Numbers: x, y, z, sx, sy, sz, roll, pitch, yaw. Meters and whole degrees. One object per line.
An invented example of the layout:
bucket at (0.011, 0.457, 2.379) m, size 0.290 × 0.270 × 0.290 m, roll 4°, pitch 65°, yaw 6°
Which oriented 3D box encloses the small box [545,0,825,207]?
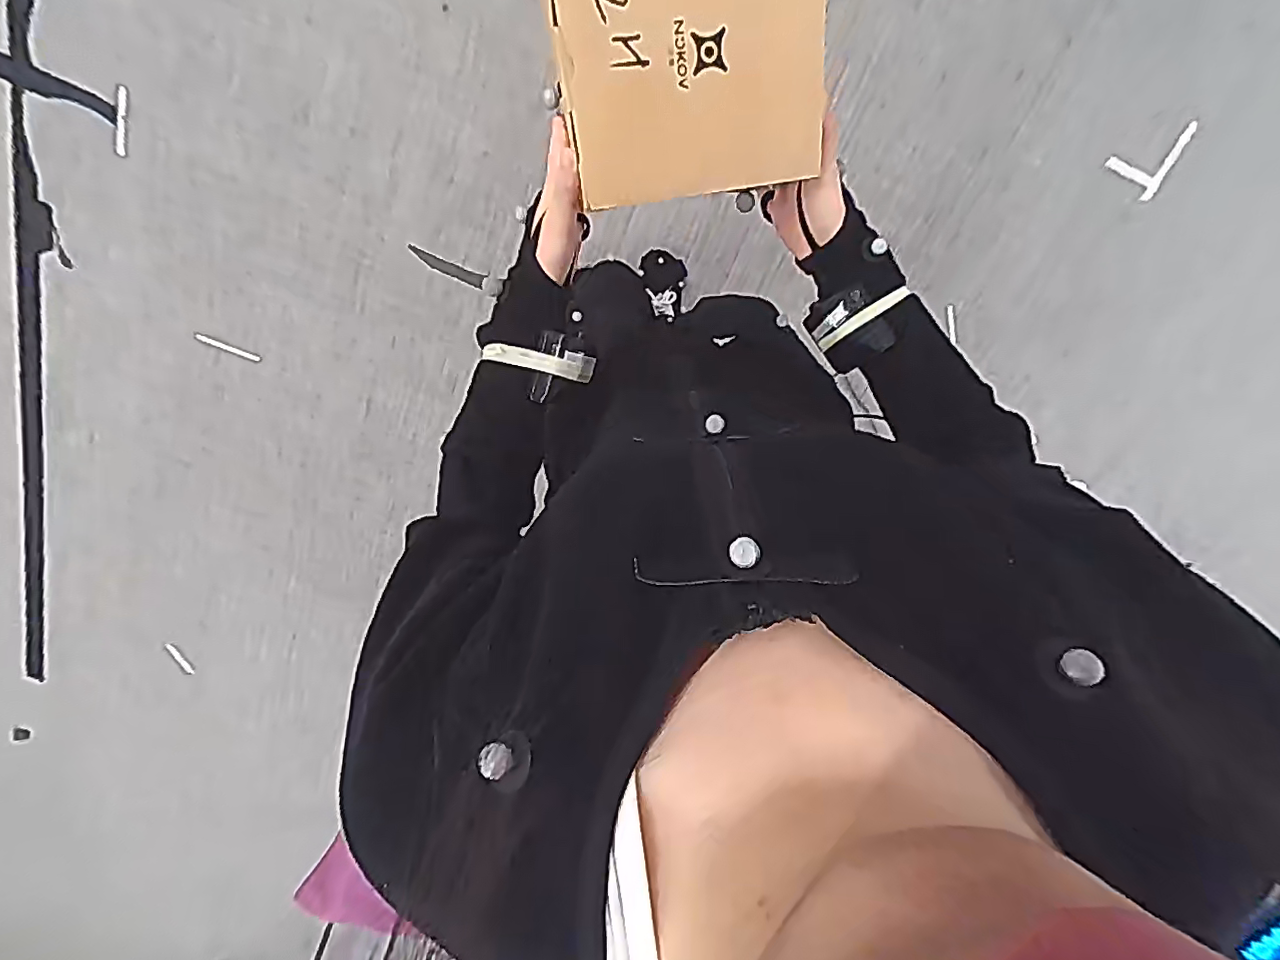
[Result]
small box at (0.025, -0.316, 0.419) m, size 0.179 × 0.176 × 0.168 m, roll -10°, pitch 118°, yaw -3°

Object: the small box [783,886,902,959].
small box at (0.427, 1.006, 1.148) m, size 0.168 × 0.176 × 0.179 m, roll 17°, pitch 112°, yaw -10°
